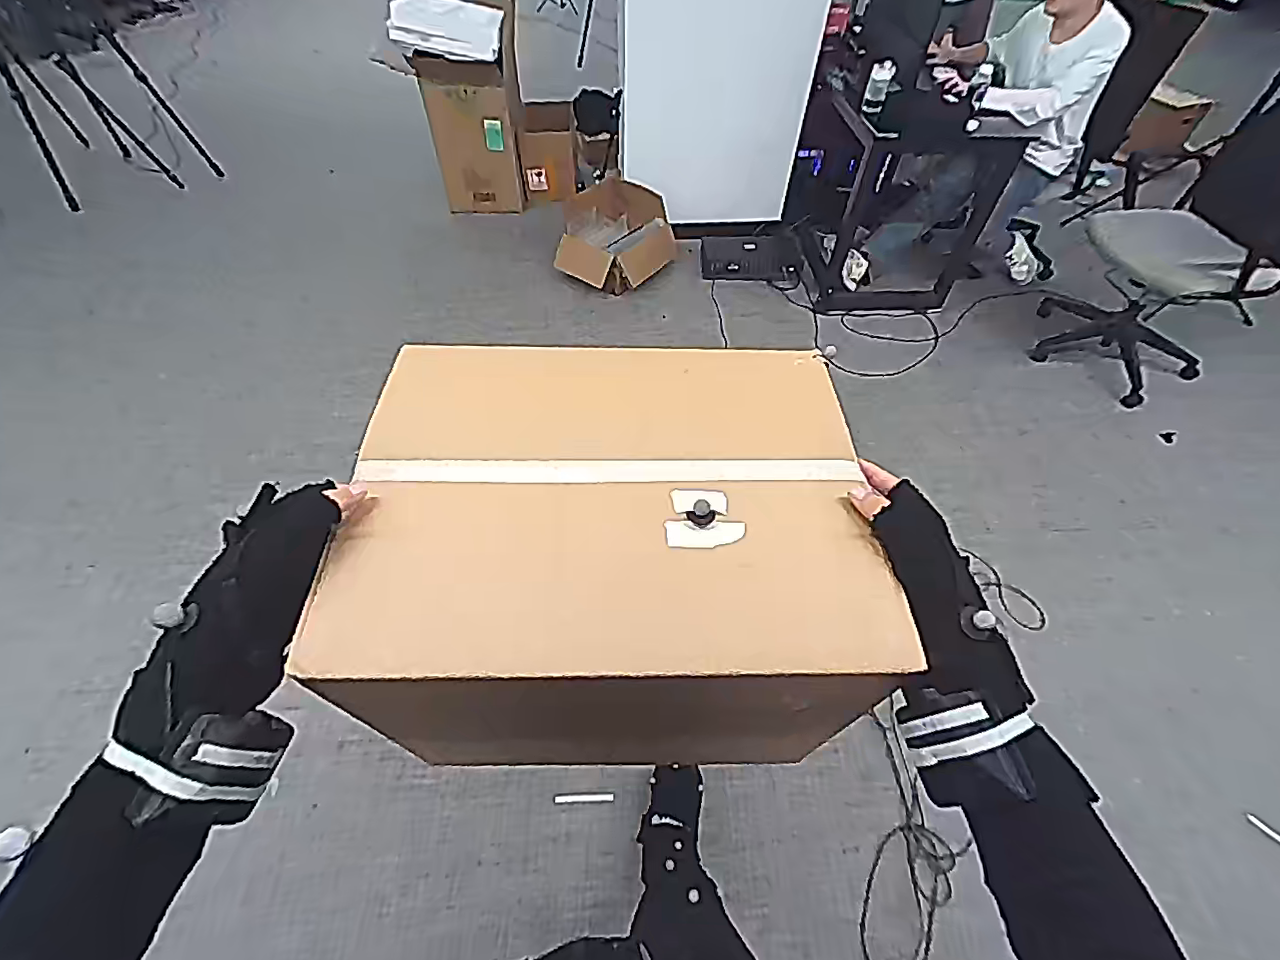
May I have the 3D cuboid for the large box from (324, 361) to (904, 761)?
[{"bbox_3d":[-0.024,0.092,0.571,0.408,0.320,0.320,1,53,-2],"label":"large box"}]
